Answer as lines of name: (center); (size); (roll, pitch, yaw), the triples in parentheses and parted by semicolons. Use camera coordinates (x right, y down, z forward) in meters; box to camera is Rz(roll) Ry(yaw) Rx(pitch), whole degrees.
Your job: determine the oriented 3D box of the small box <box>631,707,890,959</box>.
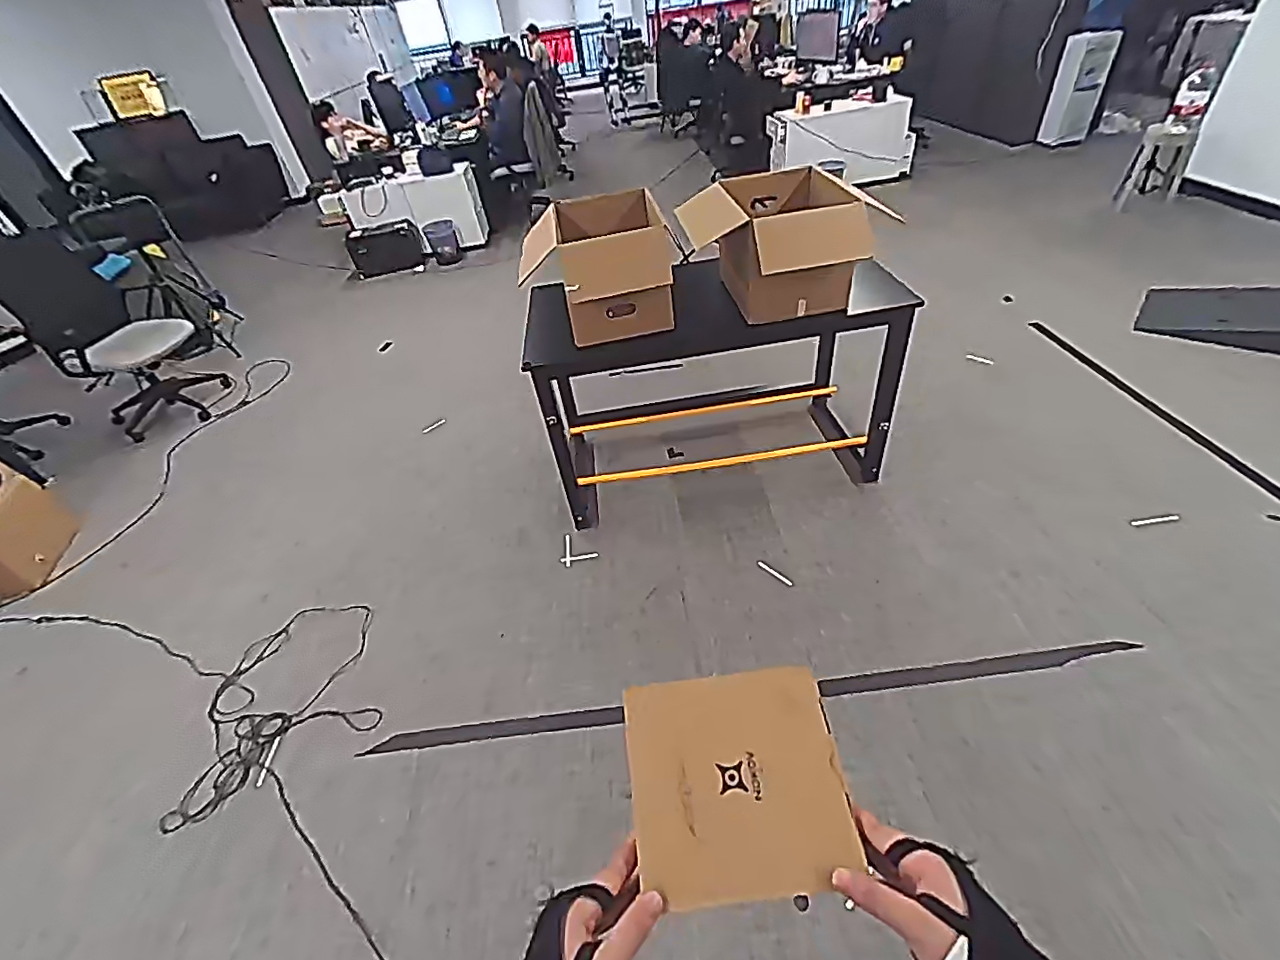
small box: (0.090, 0.320, 0.495); (0.179, 0.176, 0.168); (-8, 55, -1)
